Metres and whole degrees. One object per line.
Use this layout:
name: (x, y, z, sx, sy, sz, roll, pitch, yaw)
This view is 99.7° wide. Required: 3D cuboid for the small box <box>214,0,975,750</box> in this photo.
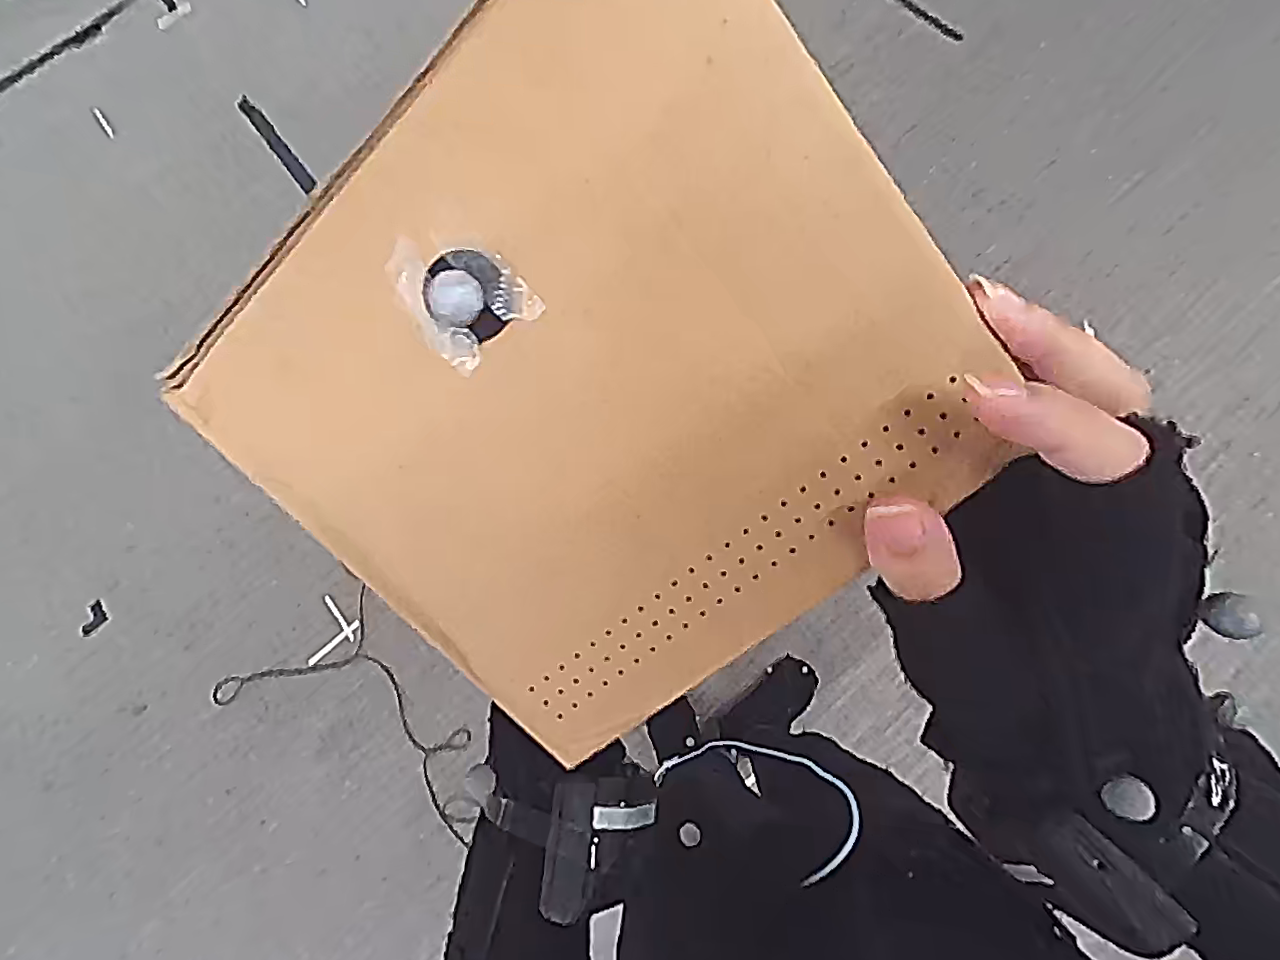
small box: (-0.009, -0.027, 0.234, 0.179, 0.168, 0.176, -40, 102, 14)
